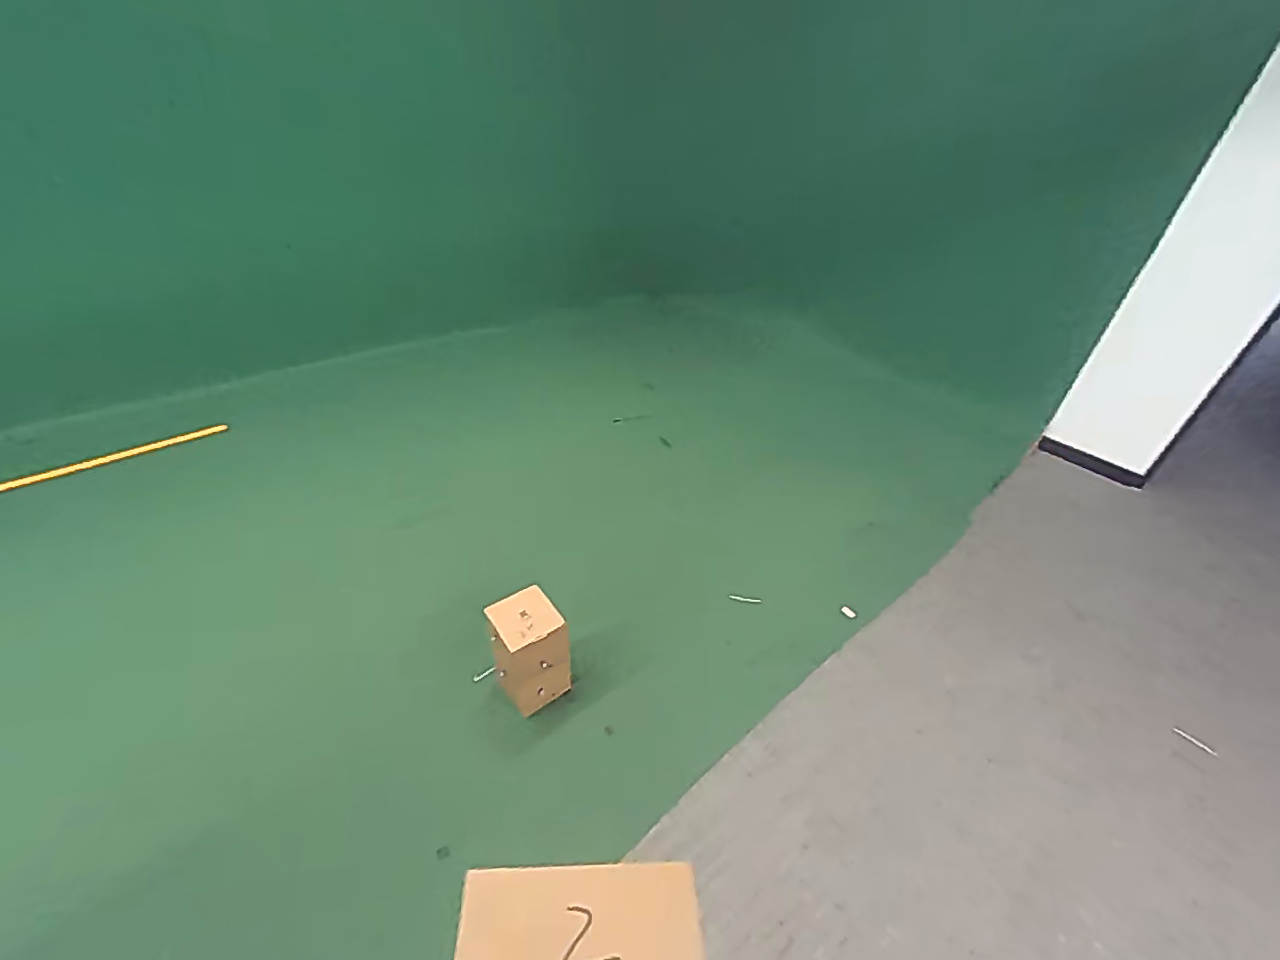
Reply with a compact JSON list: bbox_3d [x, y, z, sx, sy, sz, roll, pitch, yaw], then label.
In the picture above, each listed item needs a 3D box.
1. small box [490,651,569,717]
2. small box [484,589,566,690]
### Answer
[{"bbox_3d":[-0.326,0.580,1.624,0.168,0.176,0.179,-25,45,-32],"label":"small box"},{"bbox_3d":[-0.321,0.449,1.522,0.168,0.176,0.179,-23,44,-30],"label":"small box"}]
